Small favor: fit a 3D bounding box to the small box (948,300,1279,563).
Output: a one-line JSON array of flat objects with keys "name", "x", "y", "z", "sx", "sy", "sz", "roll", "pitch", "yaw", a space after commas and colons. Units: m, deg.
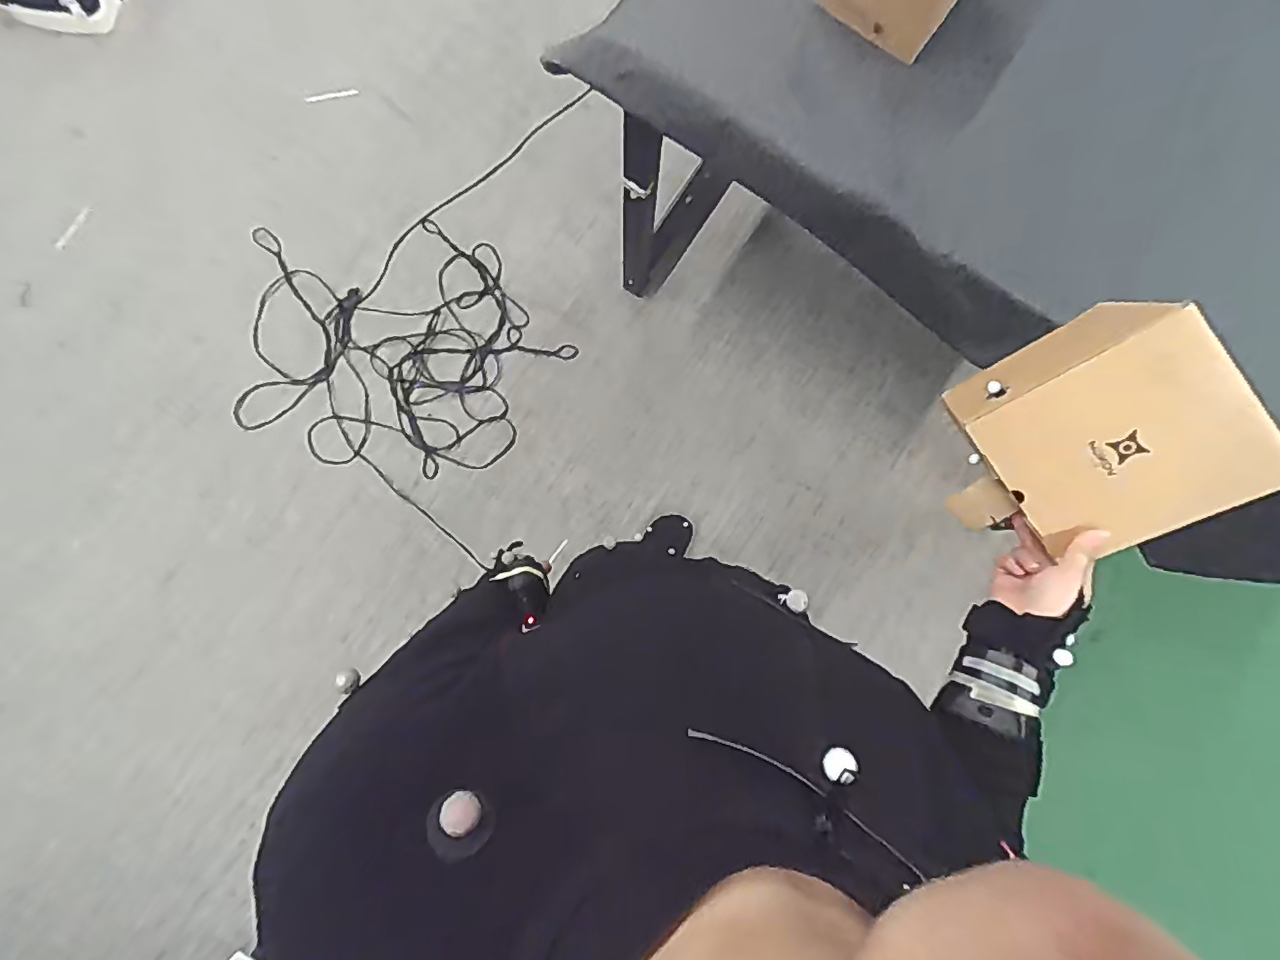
[{"name": "small box", "x": 0.431, "y": -0.056, "z": 0.520, "sx": 0.179, "sy": 0.176, "sz": 0.168, "roll": -34, "pitch": 93, "yaw": 29}]
